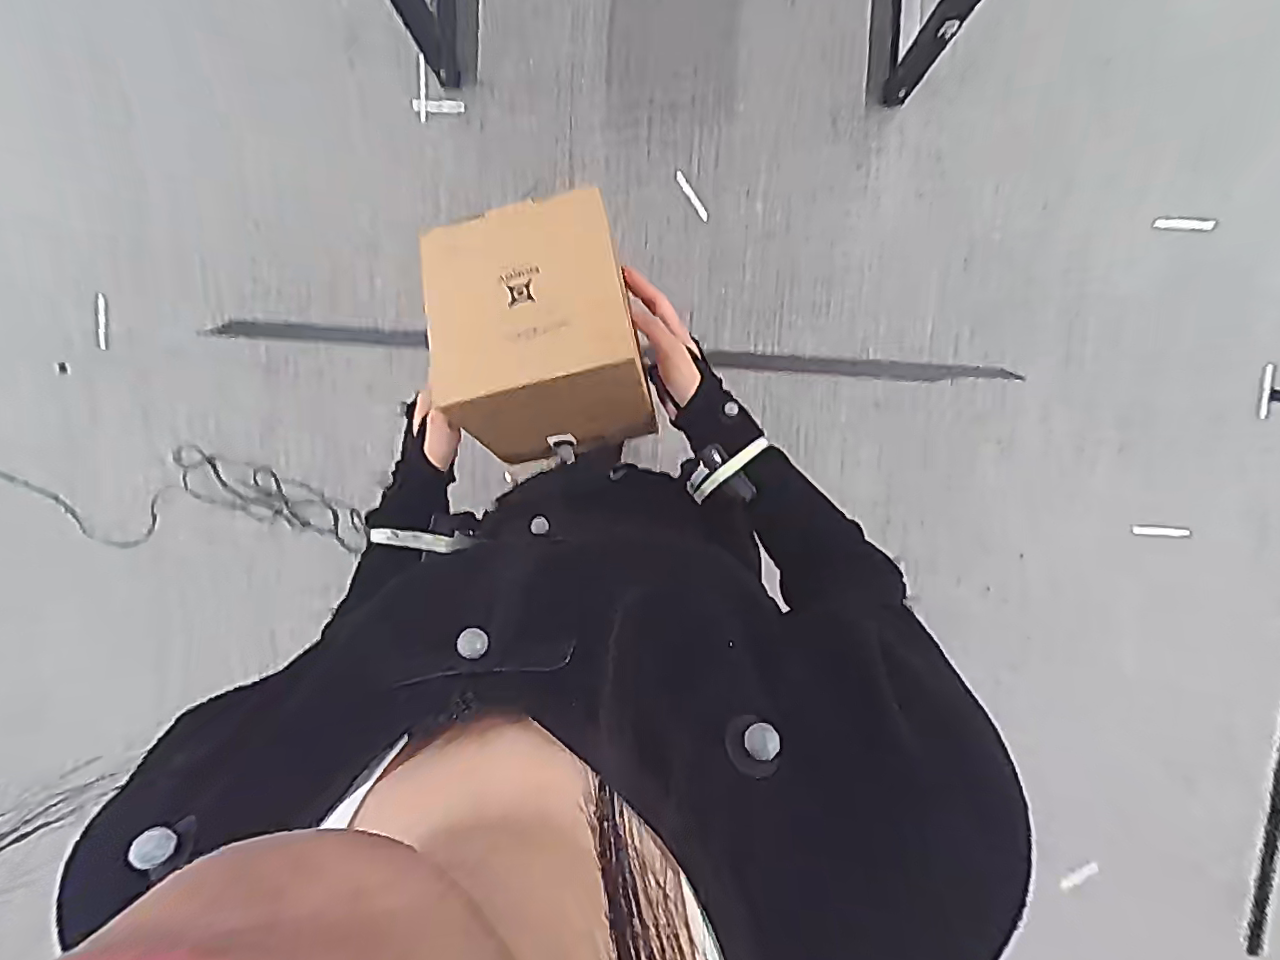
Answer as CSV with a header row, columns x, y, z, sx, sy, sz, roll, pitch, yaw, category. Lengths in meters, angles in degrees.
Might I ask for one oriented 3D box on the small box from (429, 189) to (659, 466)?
x,y,z,sx,sy,sz,roll,pitch,yaw,category
-0.084,-0.134,0.526,0.168,0.176,0.179,-13,72,5,small box
